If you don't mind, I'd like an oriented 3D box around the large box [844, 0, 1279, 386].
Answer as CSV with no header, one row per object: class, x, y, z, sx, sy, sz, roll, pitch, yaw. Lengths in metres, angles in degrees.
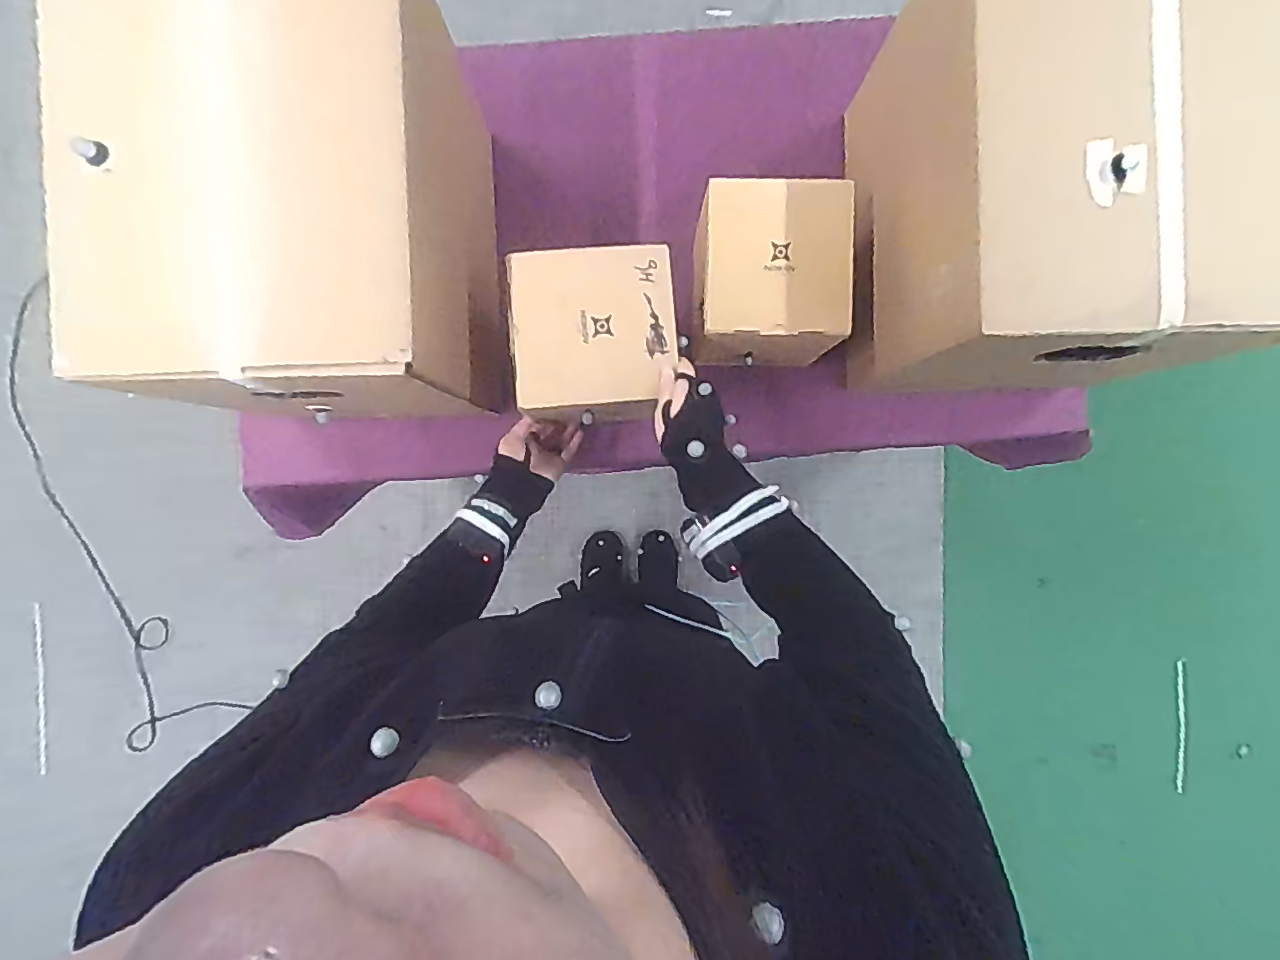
large box,0.449,-0.332,0.628,0.320,0.320,0.408,0,91,0
